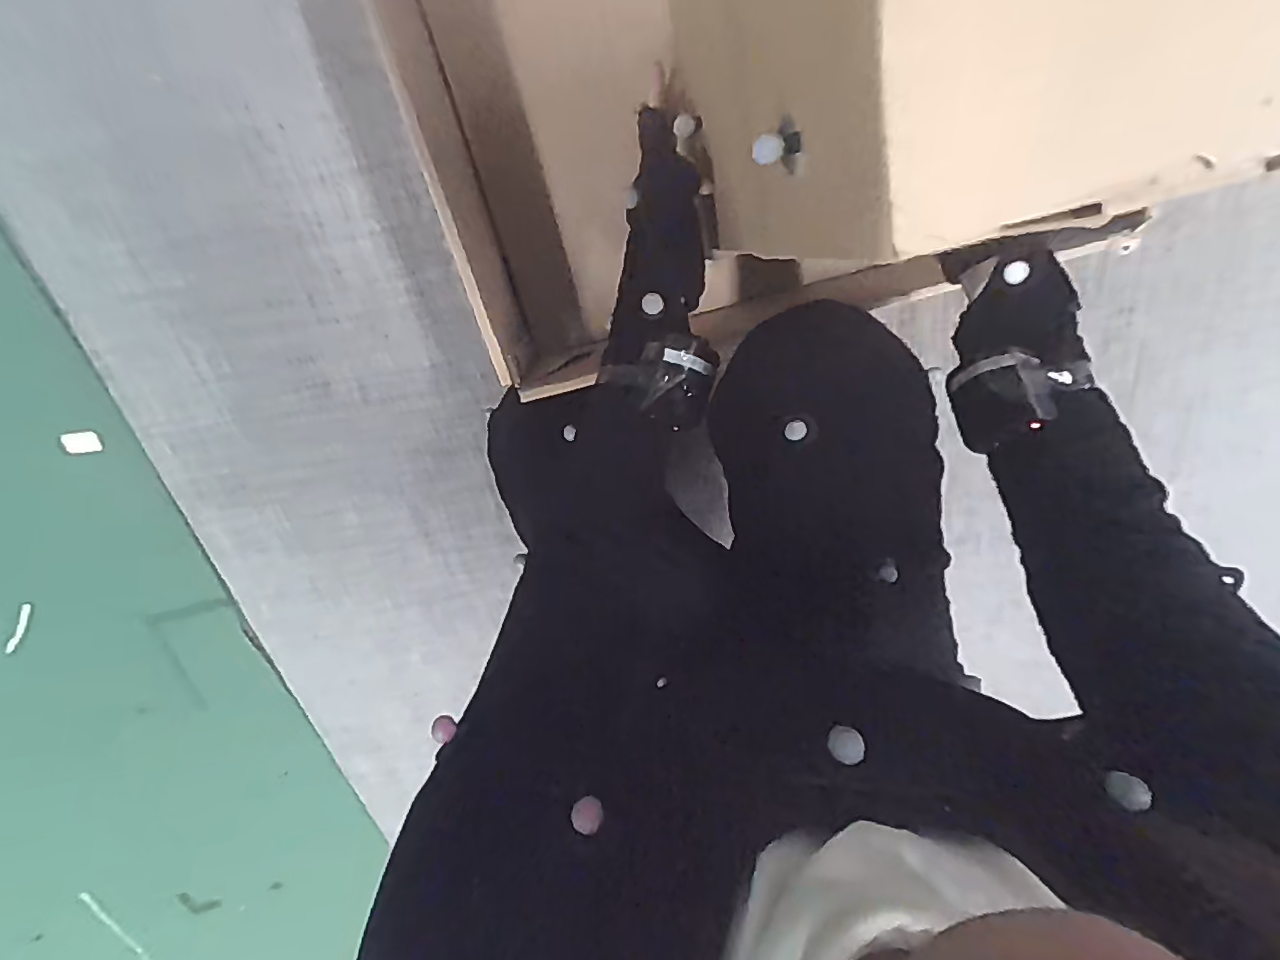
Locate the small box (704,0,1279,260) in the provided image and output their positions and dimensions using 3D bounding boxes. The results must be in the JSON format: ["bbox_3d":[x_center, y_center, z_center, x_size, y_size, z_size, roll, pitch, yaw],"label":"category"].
[{"bbox_3d":[0.120,-0.192,0.200,0.168,0.176,0.179,-13,112,3],"label":"small box"}]

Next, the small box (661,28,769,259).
[{"bbox_3d":[0.122,-0.317,0.519,0.179,0.176,0.168,-10,113,4],"label":"small box"}]
